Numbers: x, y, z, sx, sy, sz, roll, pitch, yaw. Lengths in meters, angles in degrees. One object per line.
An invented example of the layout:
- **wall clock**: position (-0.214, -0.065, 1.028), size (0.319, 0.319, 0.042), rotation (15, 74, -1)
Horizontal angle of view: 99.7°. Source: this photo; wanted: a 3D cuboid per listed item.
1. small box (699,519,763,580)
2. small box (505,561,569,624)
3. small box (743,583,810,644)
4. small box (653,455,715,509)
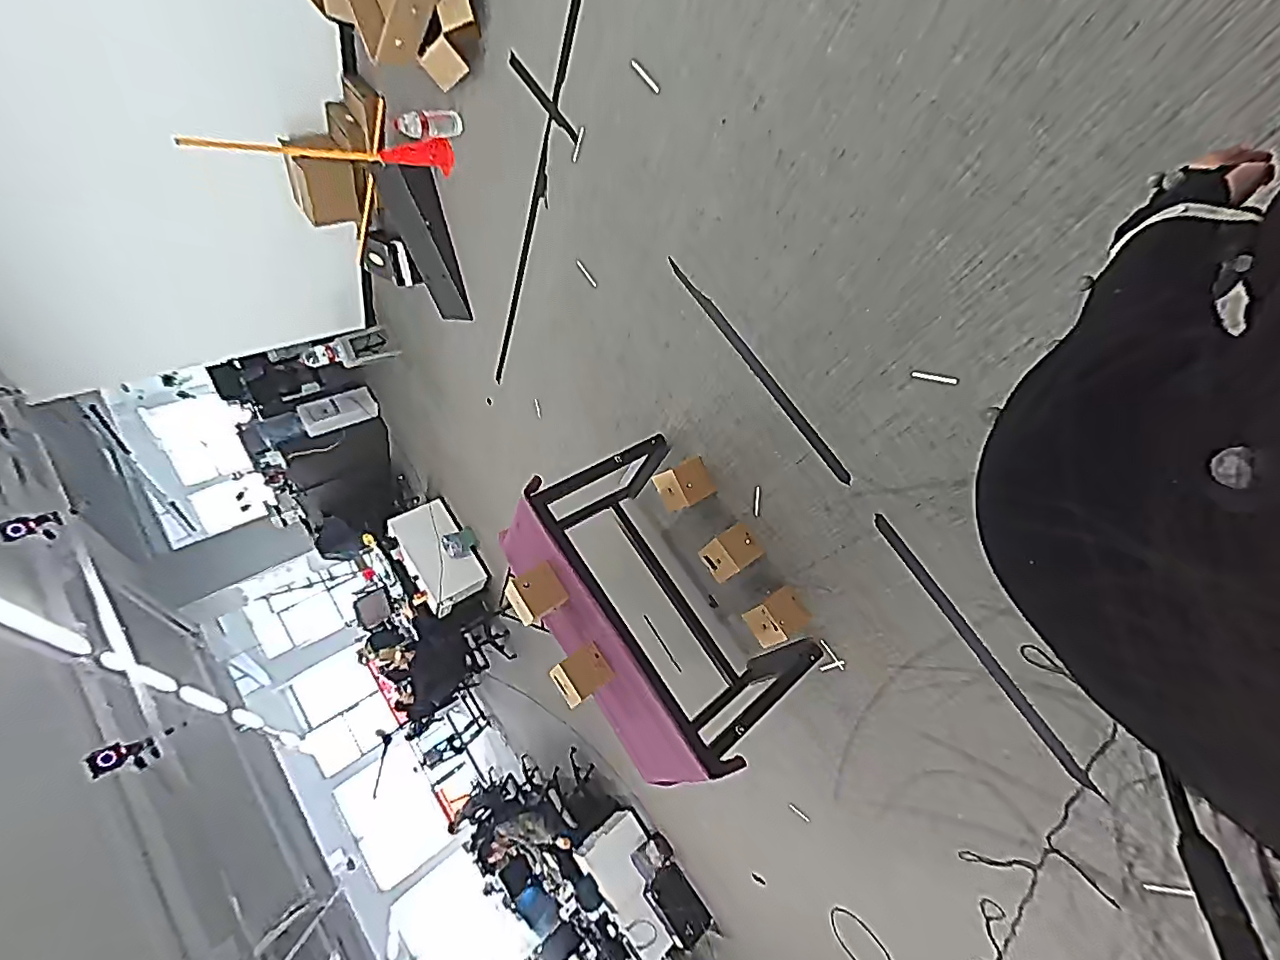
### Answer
- **small box**: position (0.389, 0.295, 2.298), size (0.168, 0.176, 0.179), rotation (54, 146, 12)
- **small box**: position (-0.412, 0.443, 2.161), size (0.179, 0.176, 0.168), rotation (55, 148, 10)
- **small box**: position (0.567, 0.551, 2.240), size (0.168, 0.176, 0.179), rotation (56, 148, 10)
- **small box**: position (0.193, 0.003, 2.359), size (0.168, 0.176, 0.179), rotation (-23, 96, 57)
